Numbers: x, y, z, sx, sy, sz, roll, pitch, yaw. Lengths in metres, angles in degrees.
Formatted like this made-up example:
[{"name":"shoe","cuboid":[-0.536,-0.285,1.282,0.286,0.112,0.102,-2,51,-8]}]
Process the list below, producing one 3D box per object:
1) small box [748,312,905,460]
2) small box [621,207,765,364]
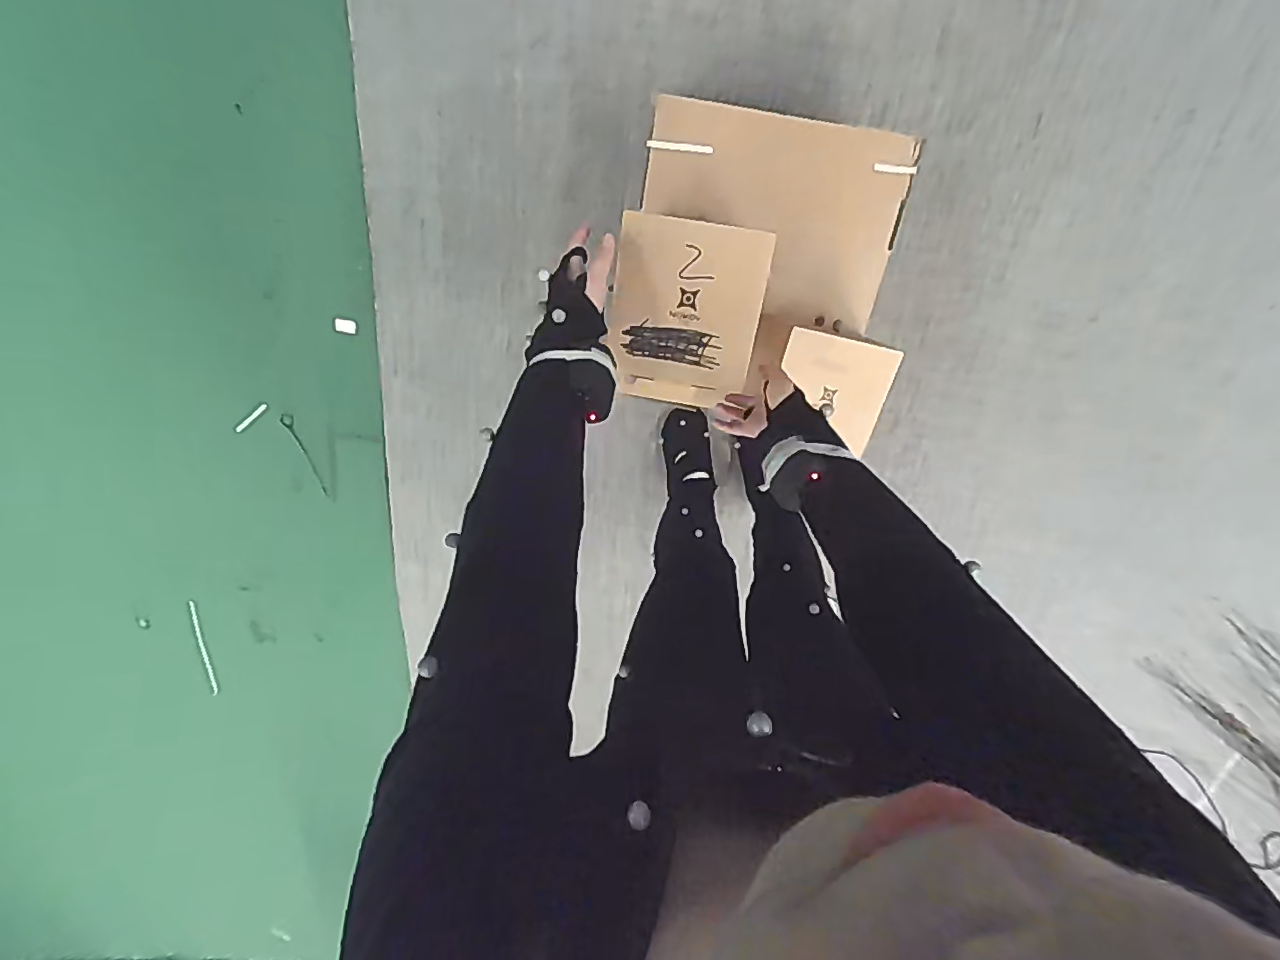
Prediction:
[{"name":"small box","cuboid":[0.278,-0.156,0.856,0.168,0.176,0.179,12,112,-3]},{"name":"small box","cuboid":[0.074,-0.290,0.814,0.168,0.176,0.179,13,112,0]}]
